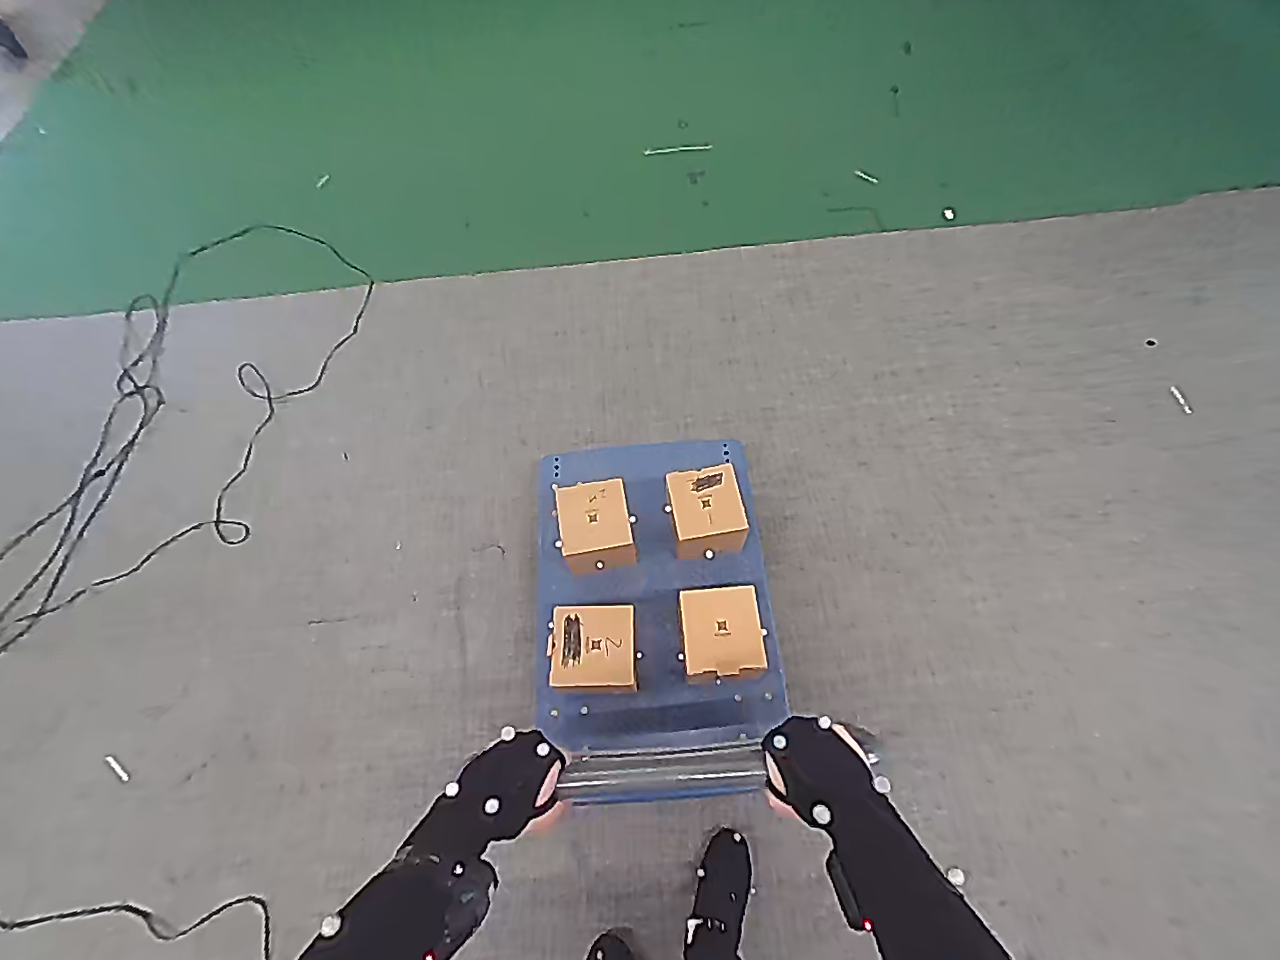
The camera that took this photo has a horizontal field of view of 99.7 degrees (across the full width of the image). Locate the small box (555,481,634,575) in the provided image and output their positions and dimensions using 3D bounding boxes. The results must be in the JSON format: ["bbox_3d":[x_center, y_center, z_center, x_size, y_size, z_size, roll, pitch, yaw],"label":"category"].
[{"bbox_3d":[-0.110,0.126,1.343,0.168,0.176,0.179,-9,63,-3],"label":"small box"}]

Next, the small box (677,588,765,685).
[{"bbox_3d":[0.174,0.355,1.216,0.168,0.176,0.179,-5,63,0],"label":"small box"}]

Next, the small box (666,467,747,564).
[{"bbox_3d":[0.157,0.092,1.349,0.168,0.176,0.179,-10,64,-2],"label":"small box"}]
